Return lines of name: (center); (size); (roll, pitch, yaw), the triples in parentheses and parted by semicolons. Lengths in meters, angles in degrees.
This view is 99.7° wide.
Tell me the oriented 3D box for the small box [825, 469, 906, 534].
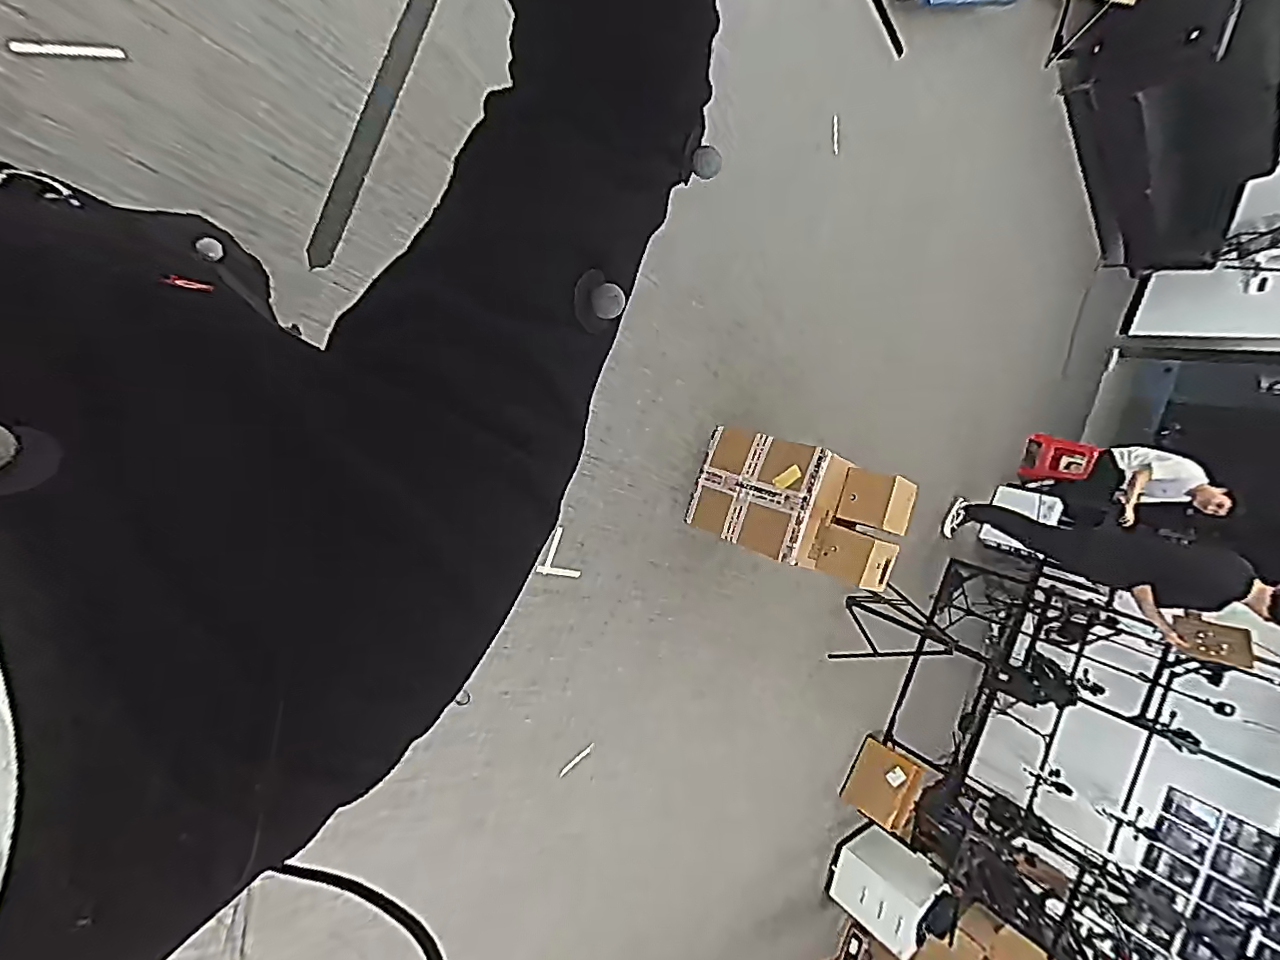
small box: (0.757, 0.076, 1.808); (0.168, 0.176, 0.179); (17, 90, -42)
